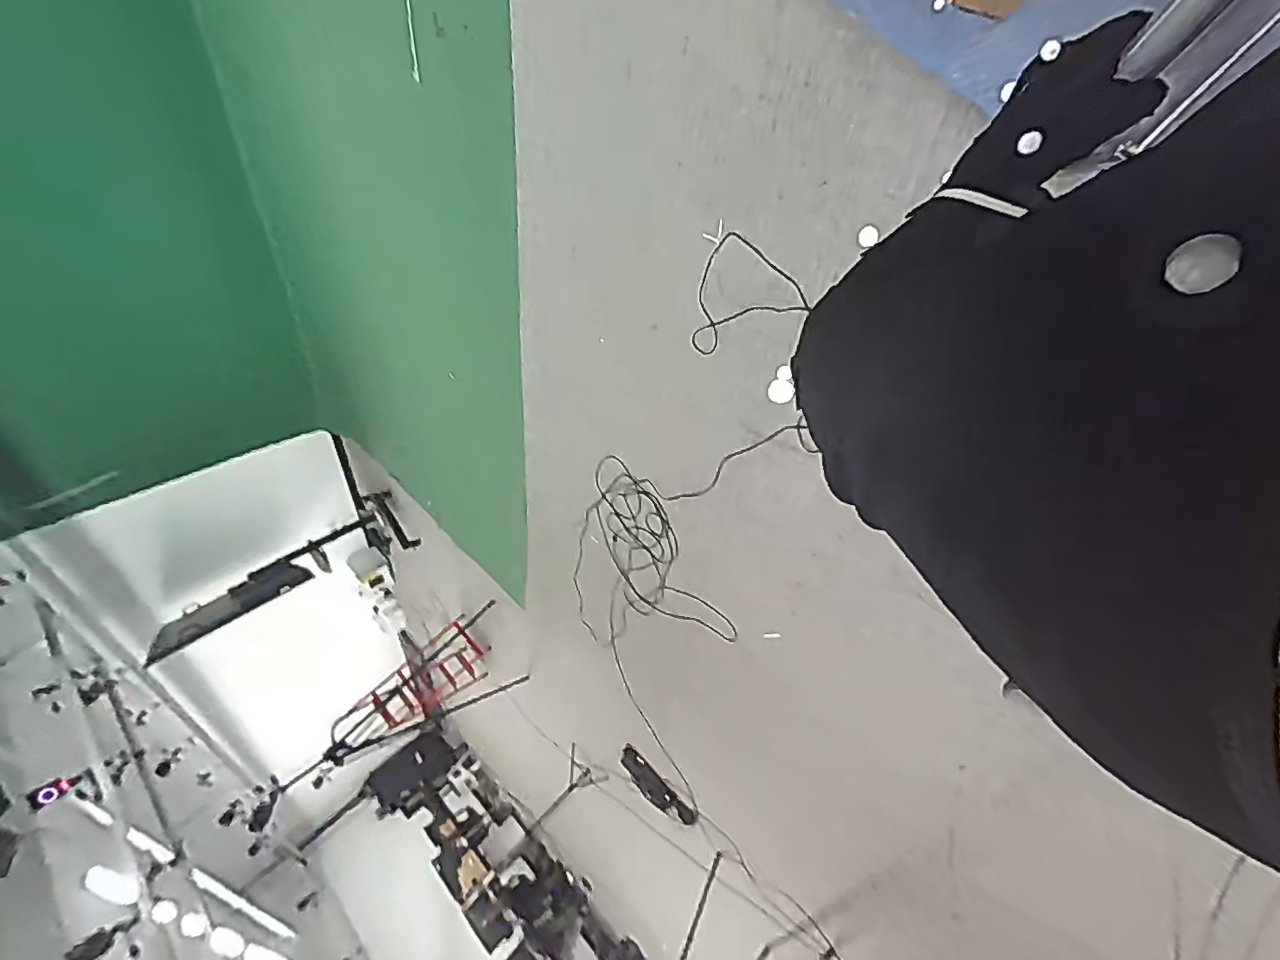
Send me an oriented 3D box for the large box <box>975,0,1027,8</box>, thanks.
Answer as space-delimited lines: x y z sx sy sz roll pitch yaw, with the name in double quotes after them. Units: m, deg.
0.499 -0.935 0.701 0.320 0.320 0.408 47 143 14 "large box"
